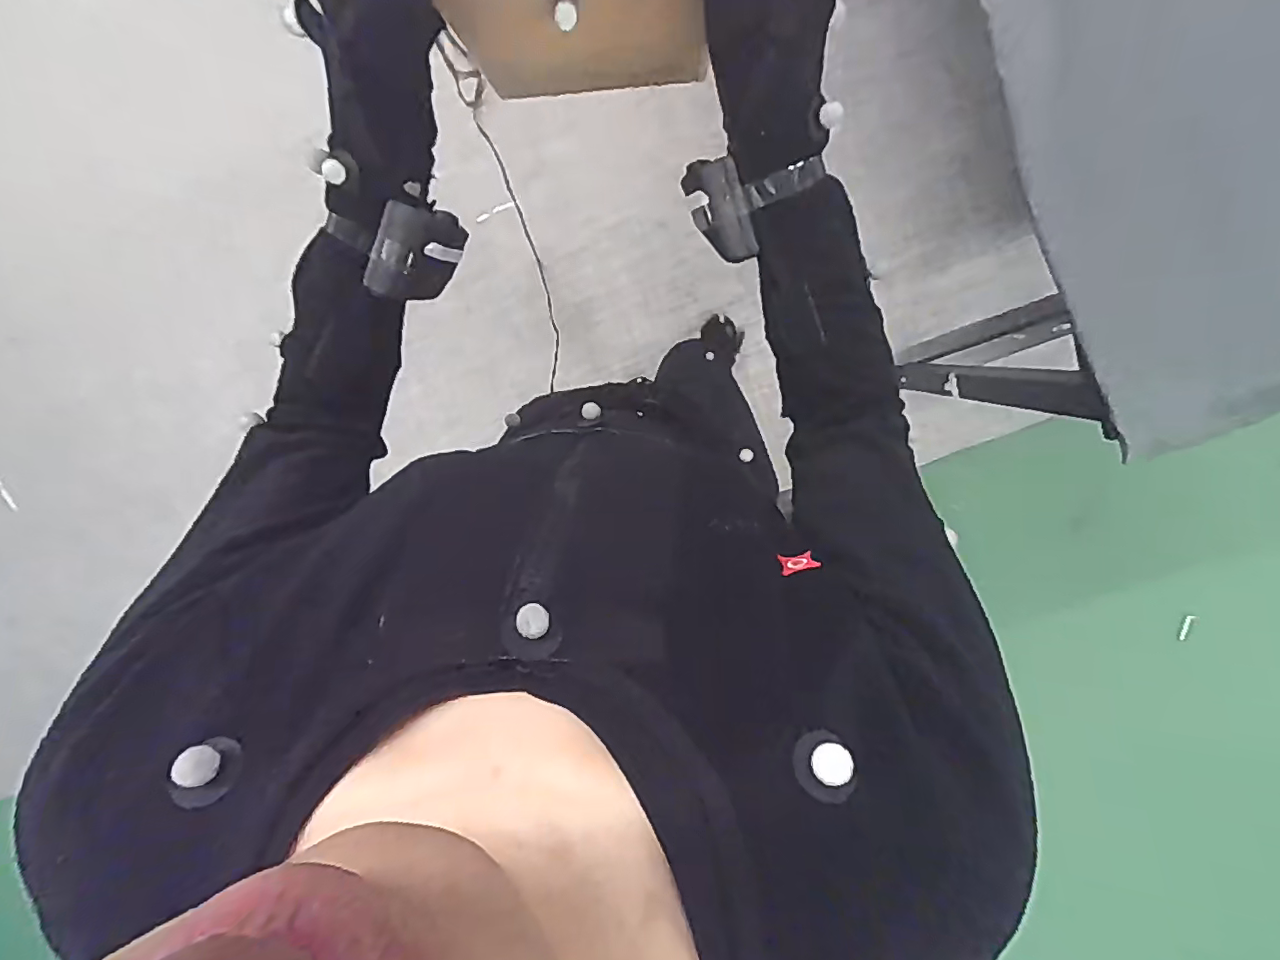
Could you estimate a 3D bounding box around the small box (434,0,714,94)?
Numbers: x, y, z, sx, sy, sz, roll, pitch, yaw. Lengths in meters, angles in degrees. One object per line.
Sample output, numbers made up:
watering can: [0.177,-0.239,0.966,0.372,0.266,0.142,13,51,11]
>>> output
small box: [-0.039,-0.378,0.344,0.179,0.176,0.168,-1,103,4]
